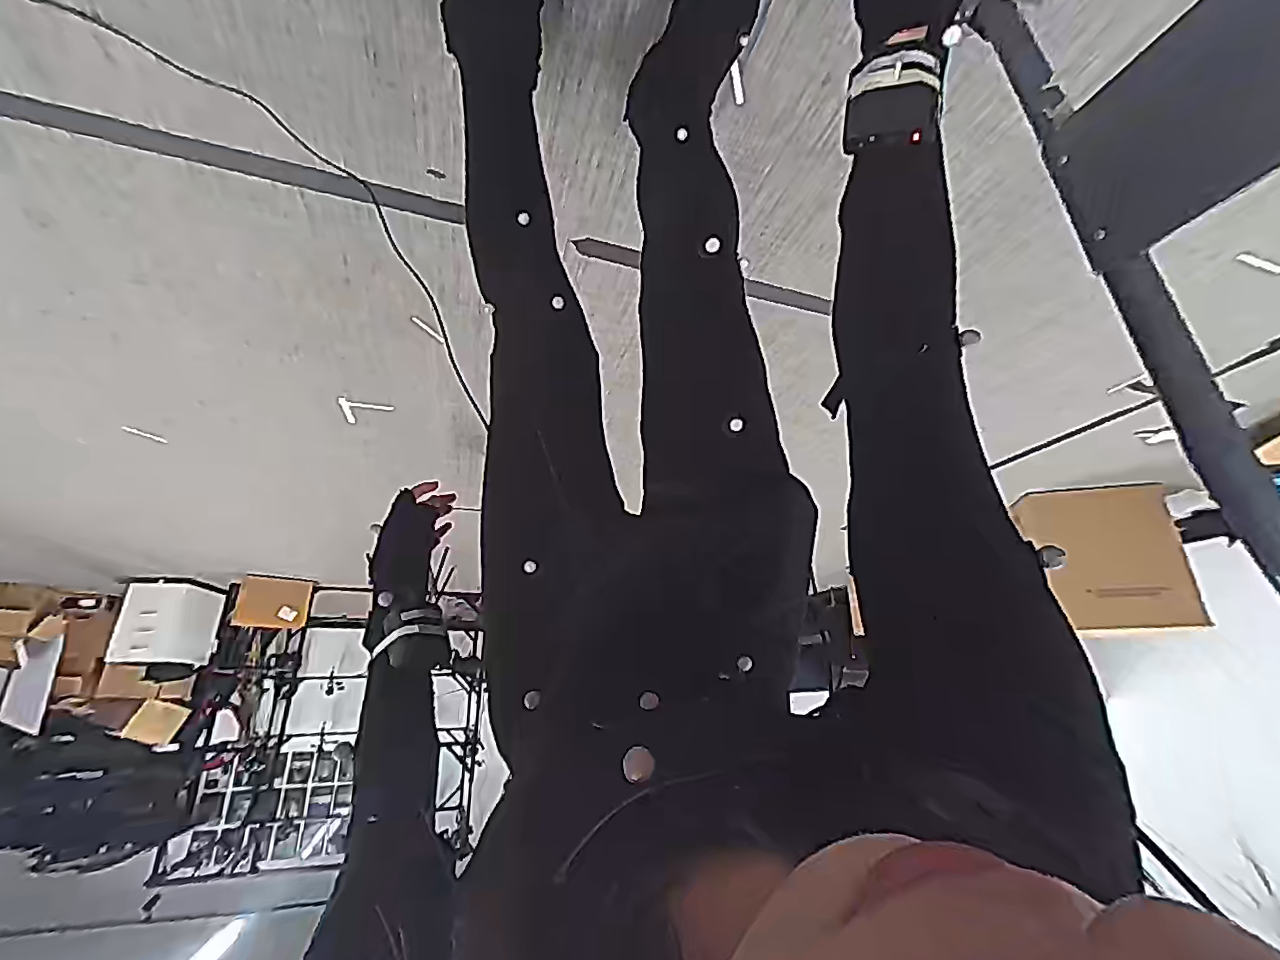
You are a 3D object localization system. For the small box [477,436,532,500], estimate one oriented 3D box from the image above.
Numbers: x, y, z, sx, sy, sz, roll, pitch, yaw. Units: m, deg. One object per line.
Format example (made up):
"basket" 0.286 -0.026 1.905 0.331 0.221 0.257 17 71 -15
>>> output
"small box" -0.497 -0.042 1.981 0.168 0.176 0.179 8 157 -21
